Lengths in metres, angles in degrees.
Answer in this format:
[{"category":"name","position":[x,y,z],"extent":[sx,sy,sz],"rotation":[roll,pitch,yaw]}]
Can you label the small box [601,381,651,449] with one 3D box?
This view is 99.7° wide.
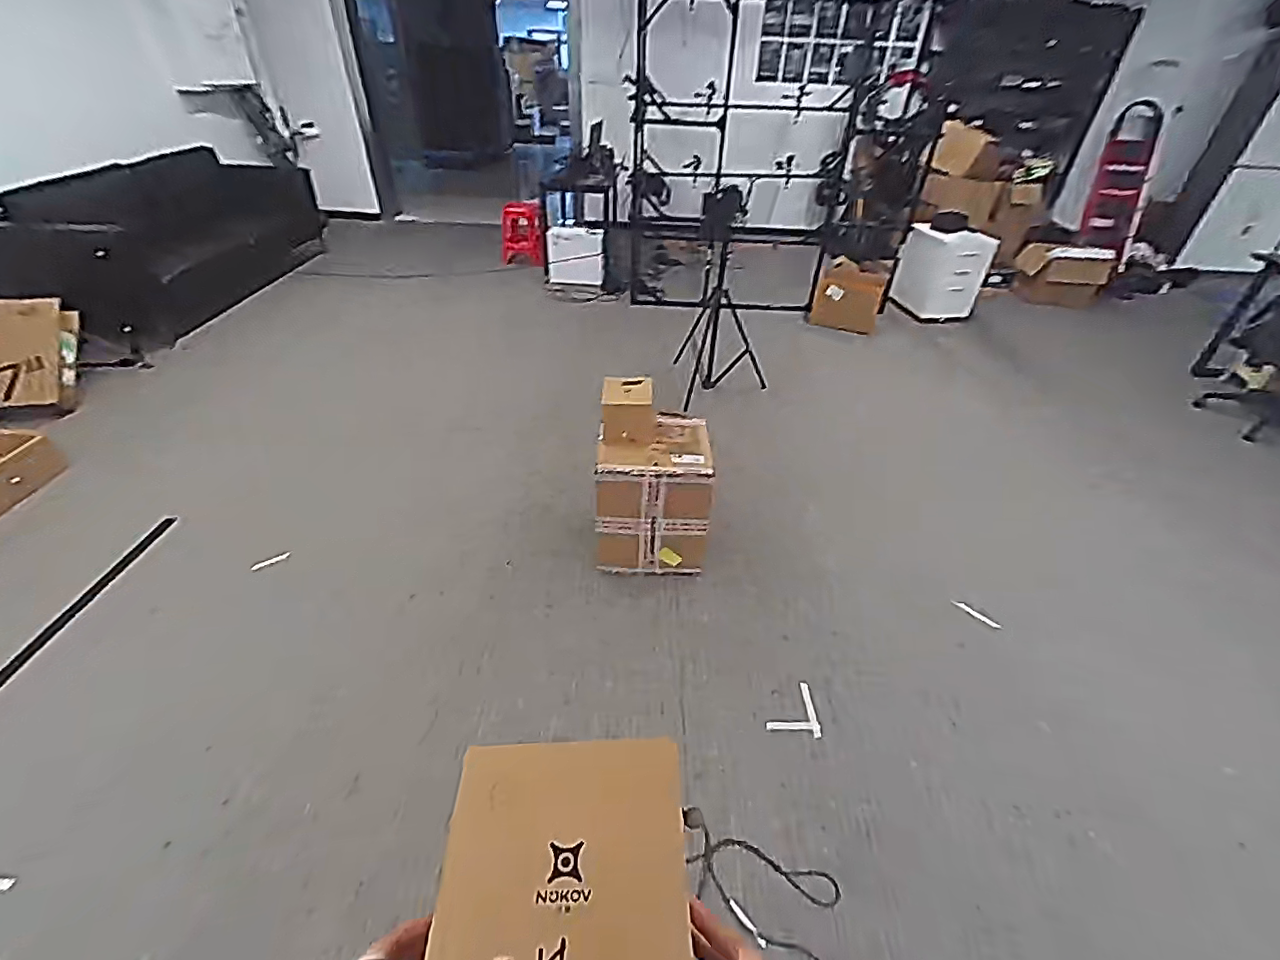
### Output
[{"category":"small box","position":[-0.045,-0.227,1.871],"extent":[0.168,0.176,0.179],"rotation":[0,41,1]}]
